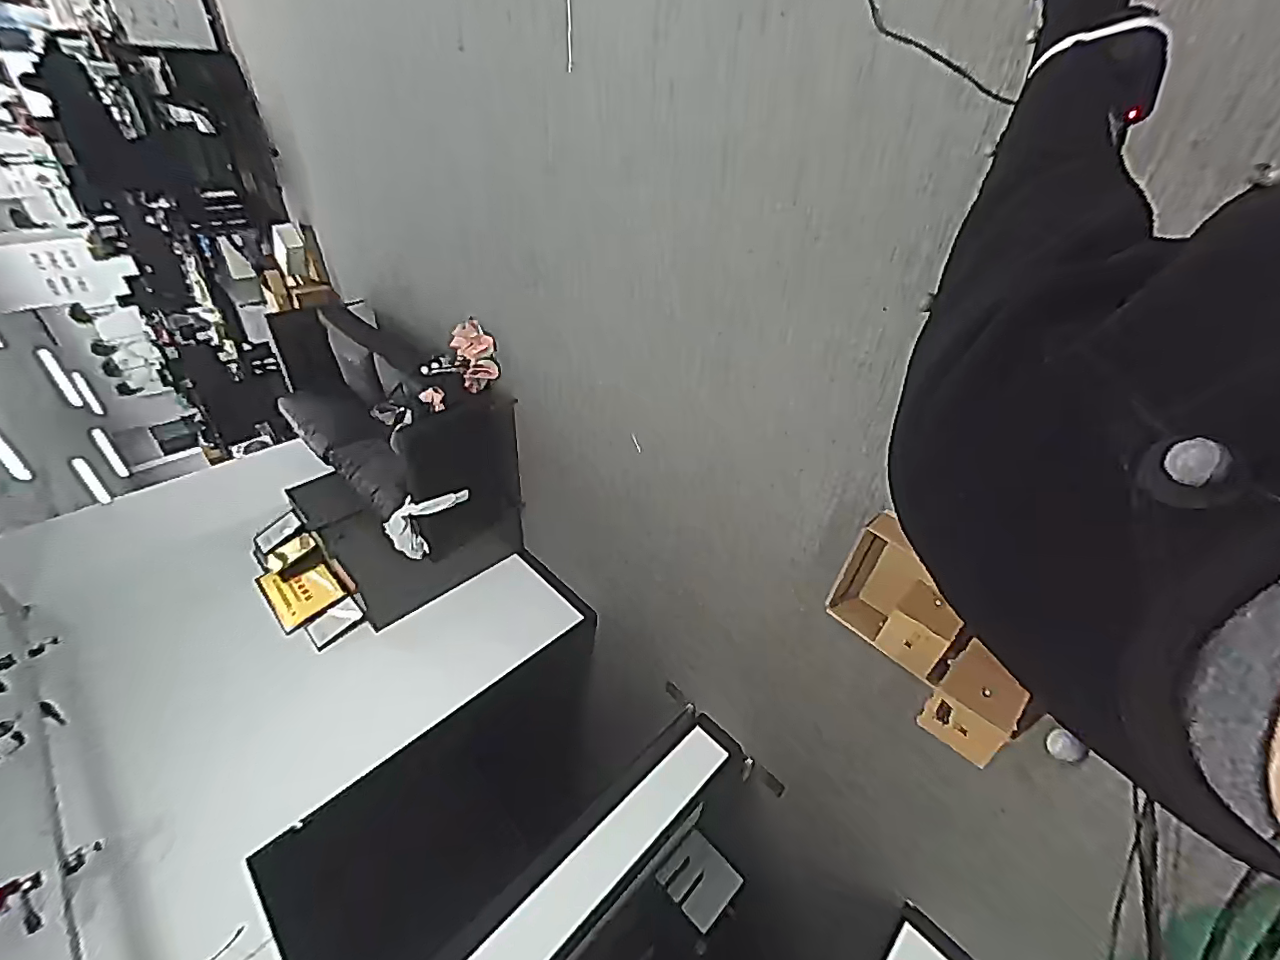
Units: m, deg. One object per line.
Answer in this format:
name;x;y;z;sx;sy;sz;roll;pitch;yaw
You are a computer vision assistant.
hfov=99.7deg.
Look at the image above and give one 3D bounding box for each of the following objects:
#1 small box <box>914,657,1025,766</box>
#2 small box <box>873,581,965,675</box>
small box;0.868;0.599;1.427;0.179;0.176;0.168;33;135;34
small box;0.845;0.443;1.634;0.168;0.176;0.179;35;136;30
